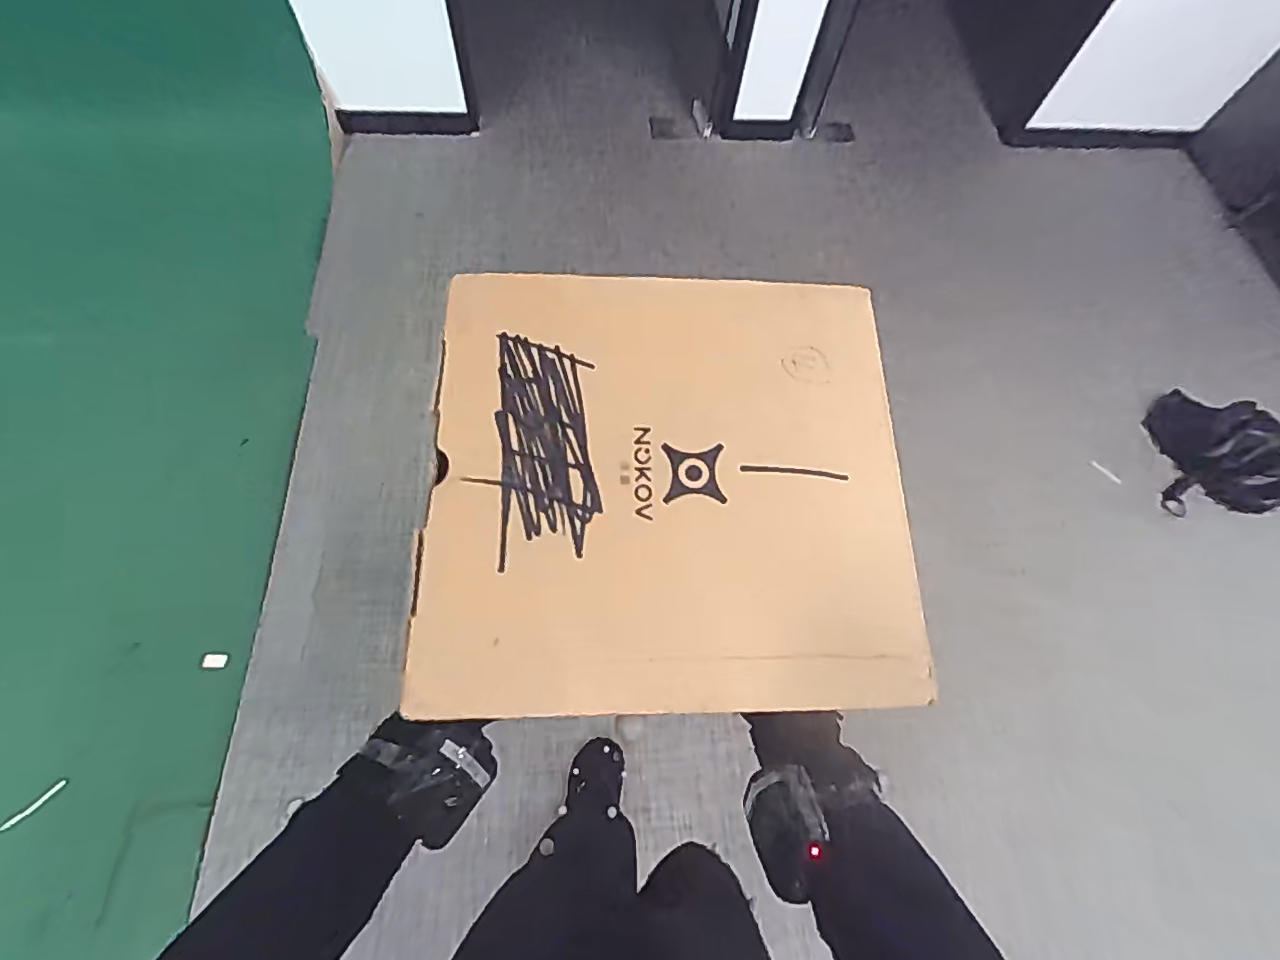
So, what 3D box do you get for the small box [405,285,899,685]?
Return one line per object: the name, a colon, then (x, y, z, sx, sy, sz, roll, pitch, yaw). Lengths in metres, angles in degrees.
small box: (0.001, 0.020, 0.288, 0.179, 0.176, 0.168, 1, 71, -4)
